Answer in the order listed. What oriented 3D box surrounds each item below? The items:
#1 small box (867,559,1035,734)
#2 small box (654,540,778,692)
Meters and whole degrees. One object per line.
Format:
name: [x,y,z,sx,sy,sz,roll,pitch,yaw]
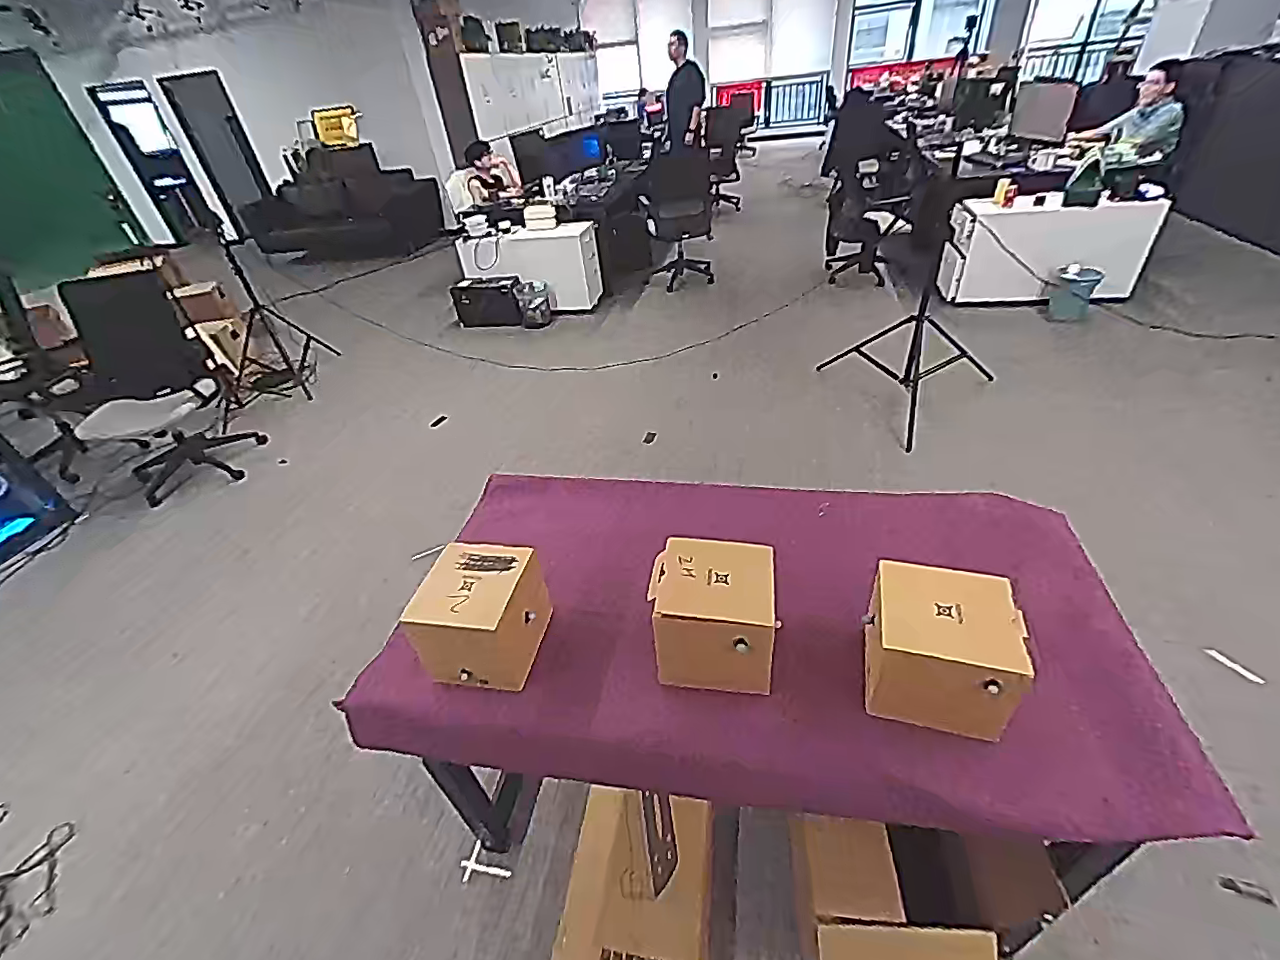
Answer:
small box: [0.433,0.241,0.789,0.179,0.176,0.168,6,39,17]
small box: [0.126,0.218,0.871,0.179,0.176,0.168,1,35,12]
